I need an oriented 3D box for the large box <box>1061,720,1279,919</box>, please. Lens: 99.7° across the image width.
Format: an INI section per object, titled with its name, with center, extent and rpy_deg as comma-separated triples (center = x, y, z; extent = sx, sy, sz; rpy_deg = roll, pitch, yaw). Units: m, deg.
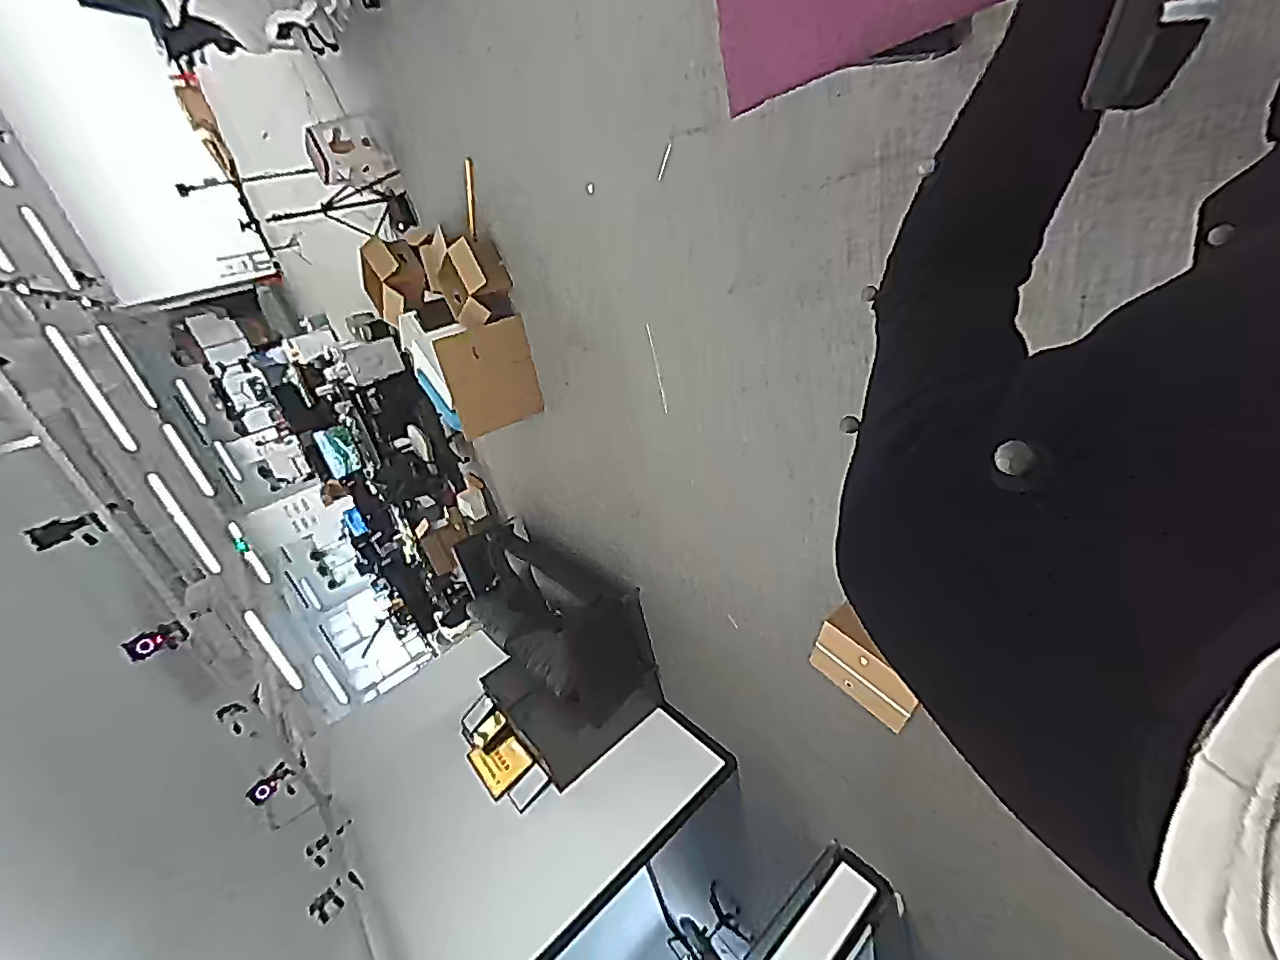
[large box]
center = 1.525, 0.915, 1.515
extent = 0.320, 0.320, 0.408
rpy_deg = 59, 149, 1
